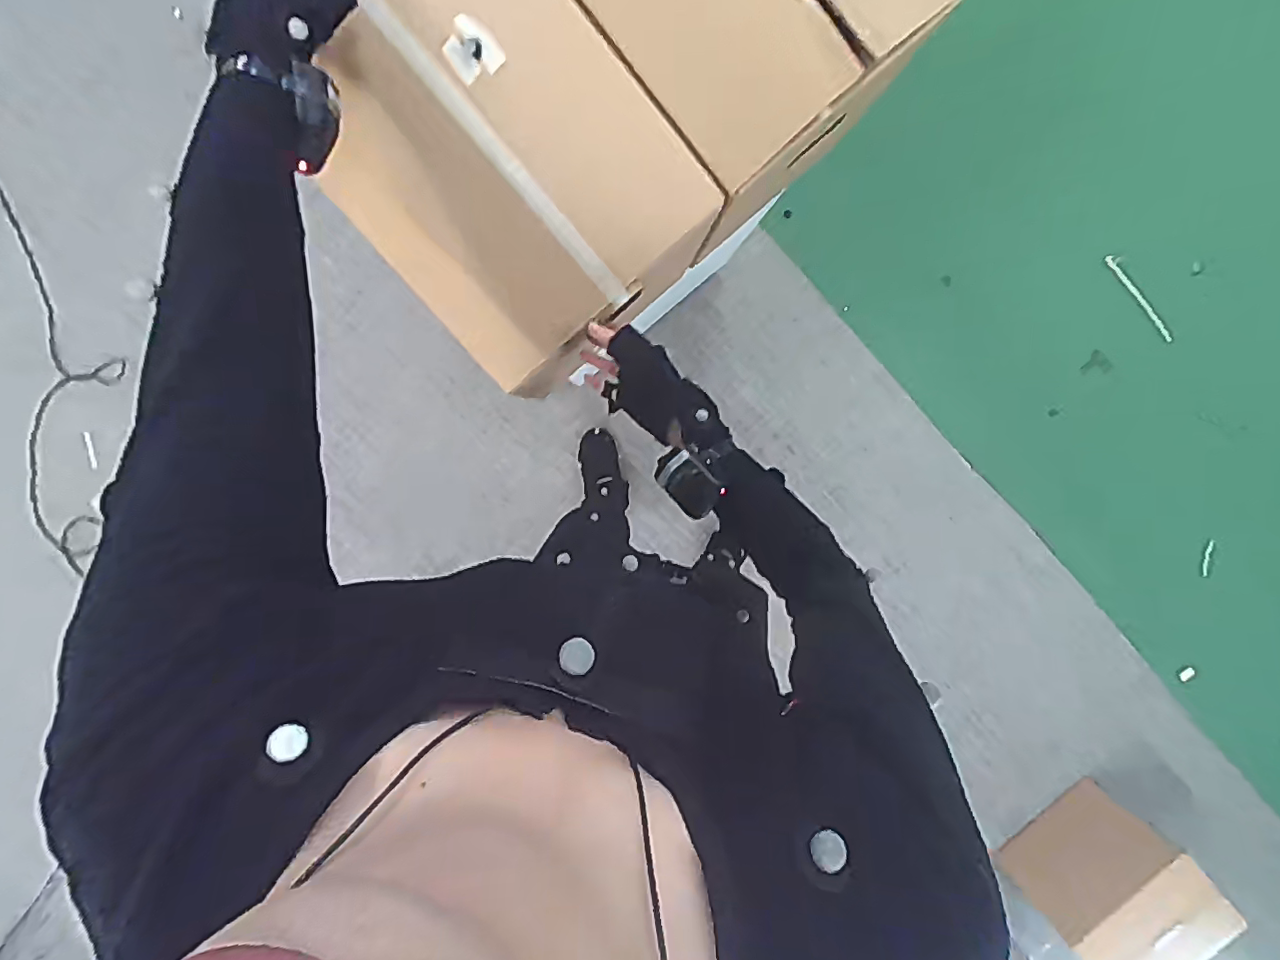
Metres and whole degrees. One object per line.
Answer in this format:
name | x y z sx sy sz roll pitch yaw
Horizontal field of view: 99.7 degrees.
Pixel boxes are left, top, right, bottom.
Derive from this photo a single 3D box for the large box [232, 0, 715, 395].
large box | -0.167 -0.359 0.697 0.320 0.320 0.408 -41 96 2
